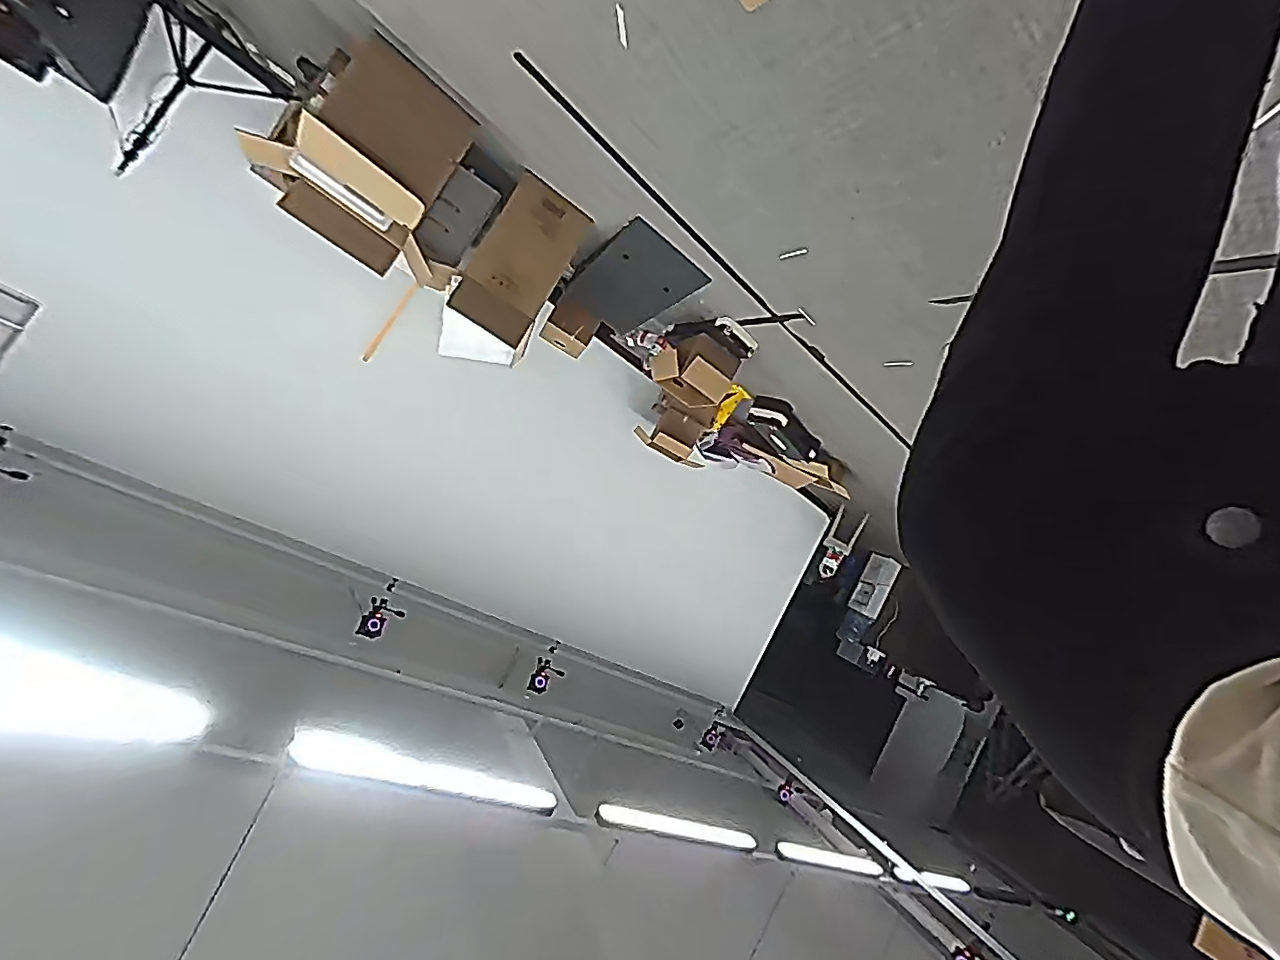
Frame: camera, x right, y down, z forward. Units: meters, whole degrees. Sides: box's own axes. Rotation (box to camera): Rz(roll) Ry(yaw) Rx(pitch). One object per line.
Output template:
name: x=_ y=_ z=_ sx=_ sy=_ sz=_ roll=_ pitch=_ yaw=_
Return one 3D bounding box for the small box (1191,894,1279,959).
small box: x=1.892 y=1.446 z=1.702 sx=0.179 sy=0.176 sz=0.168 roll=32 pitch=173 yaw=-29
